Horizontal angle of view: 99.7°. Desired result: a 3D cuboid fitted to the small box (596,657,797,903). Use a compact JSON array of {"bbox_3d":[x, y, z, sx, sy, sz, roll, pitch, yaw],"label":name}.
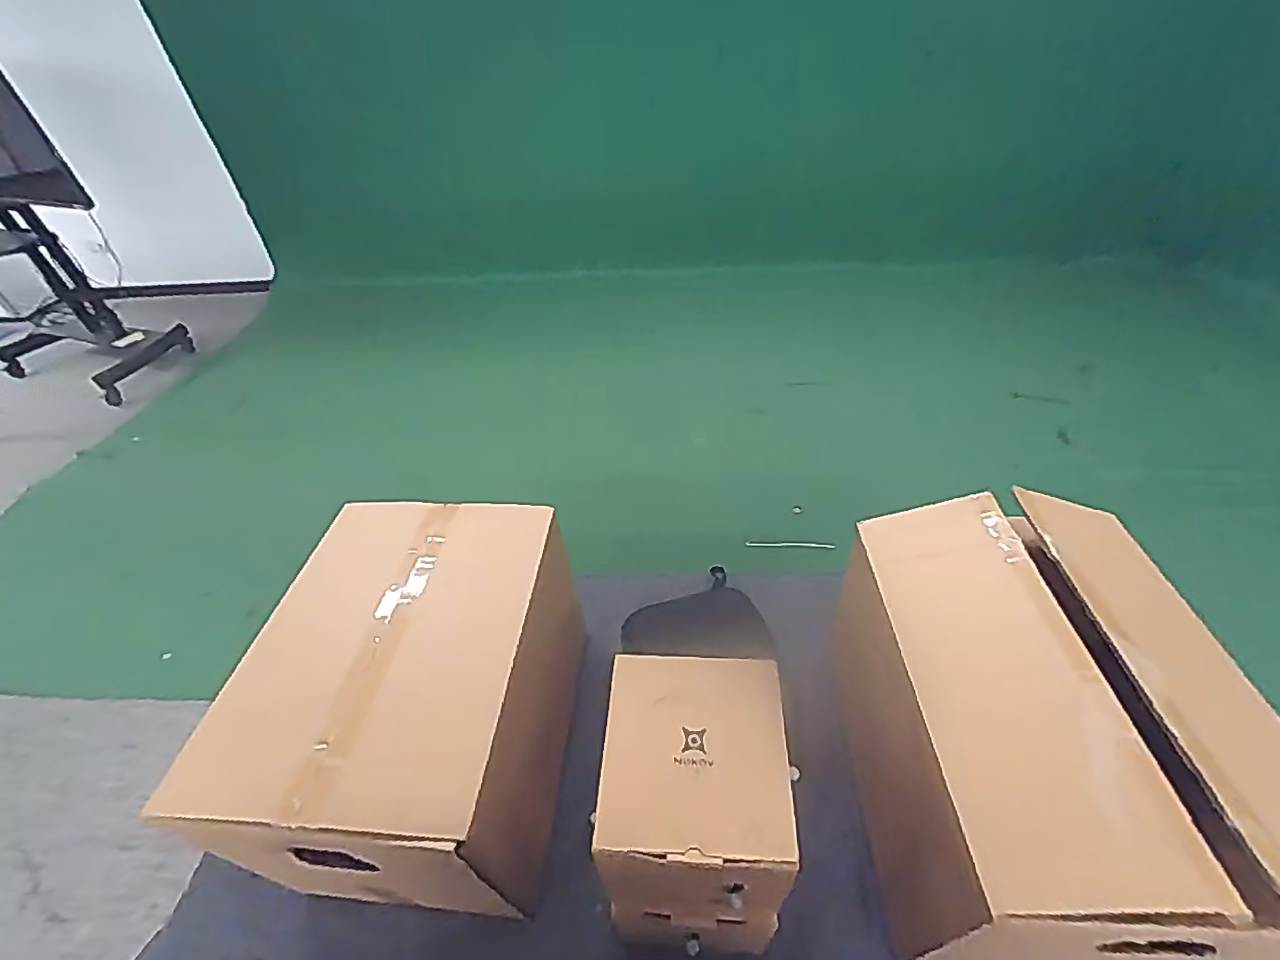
[{"bbox_3d":[0.054,0.303,0.547,0.168,0.176,0.179,1,41,4],"label":"small box"}]
